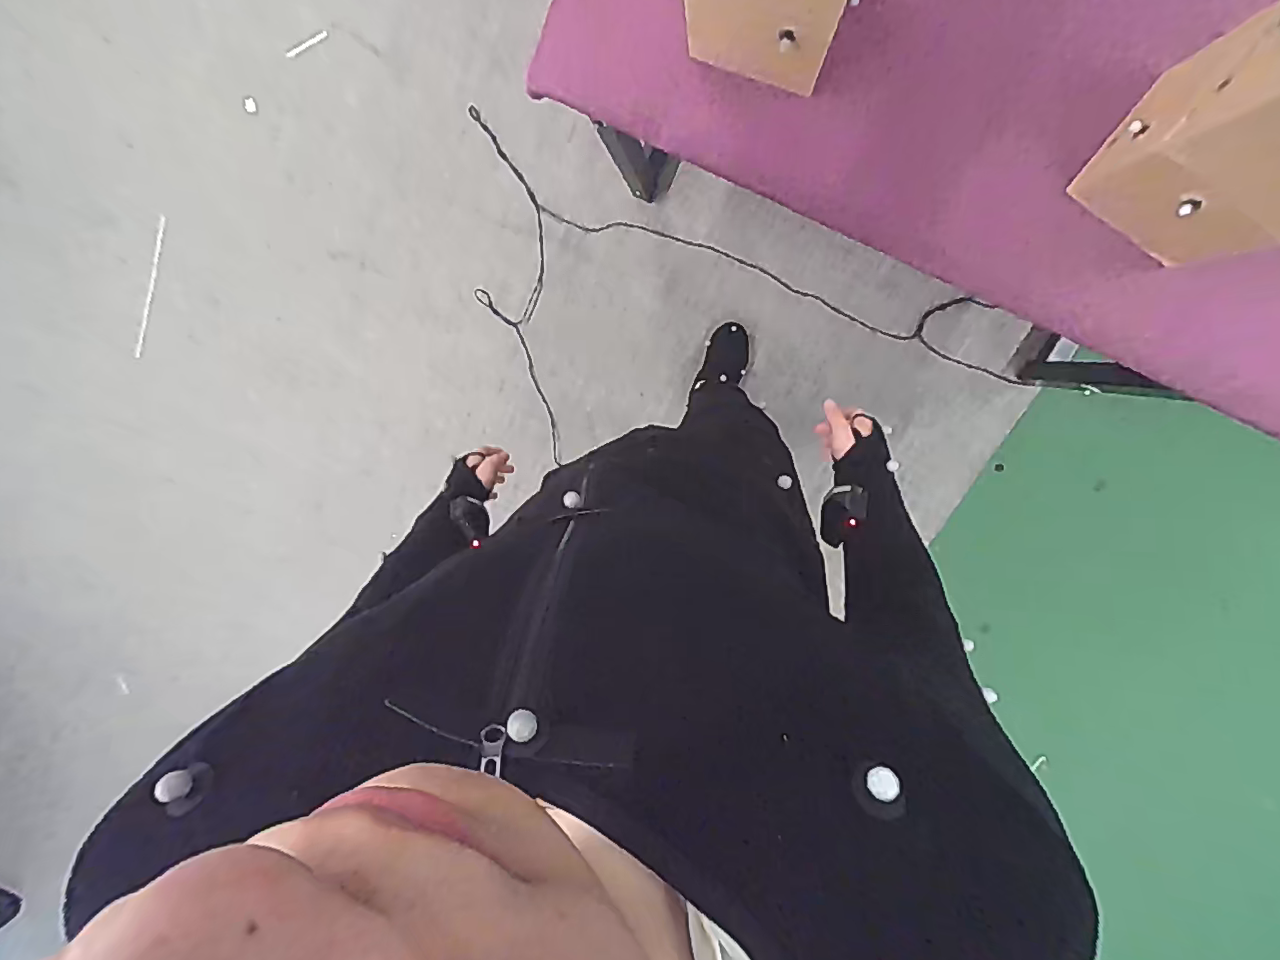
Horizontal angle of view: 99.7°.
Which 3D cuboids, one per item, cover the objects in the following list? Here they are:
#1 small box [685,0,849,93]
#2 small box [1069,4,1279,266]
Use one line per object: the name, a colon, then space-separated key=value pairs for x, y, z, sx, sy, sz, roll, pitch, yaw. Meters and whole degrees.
small box: x=0.165 y=-0.597 z=0.635 sx=0.179 sy=0.176 sz=0.168 roll=22 pitch=105 yaw=3
small box: x=0.660 y=-0.370 z=0.619 sx=0.179 sy=0.176 sz=0.168 roll=37 pitch=105 yaw=-2
